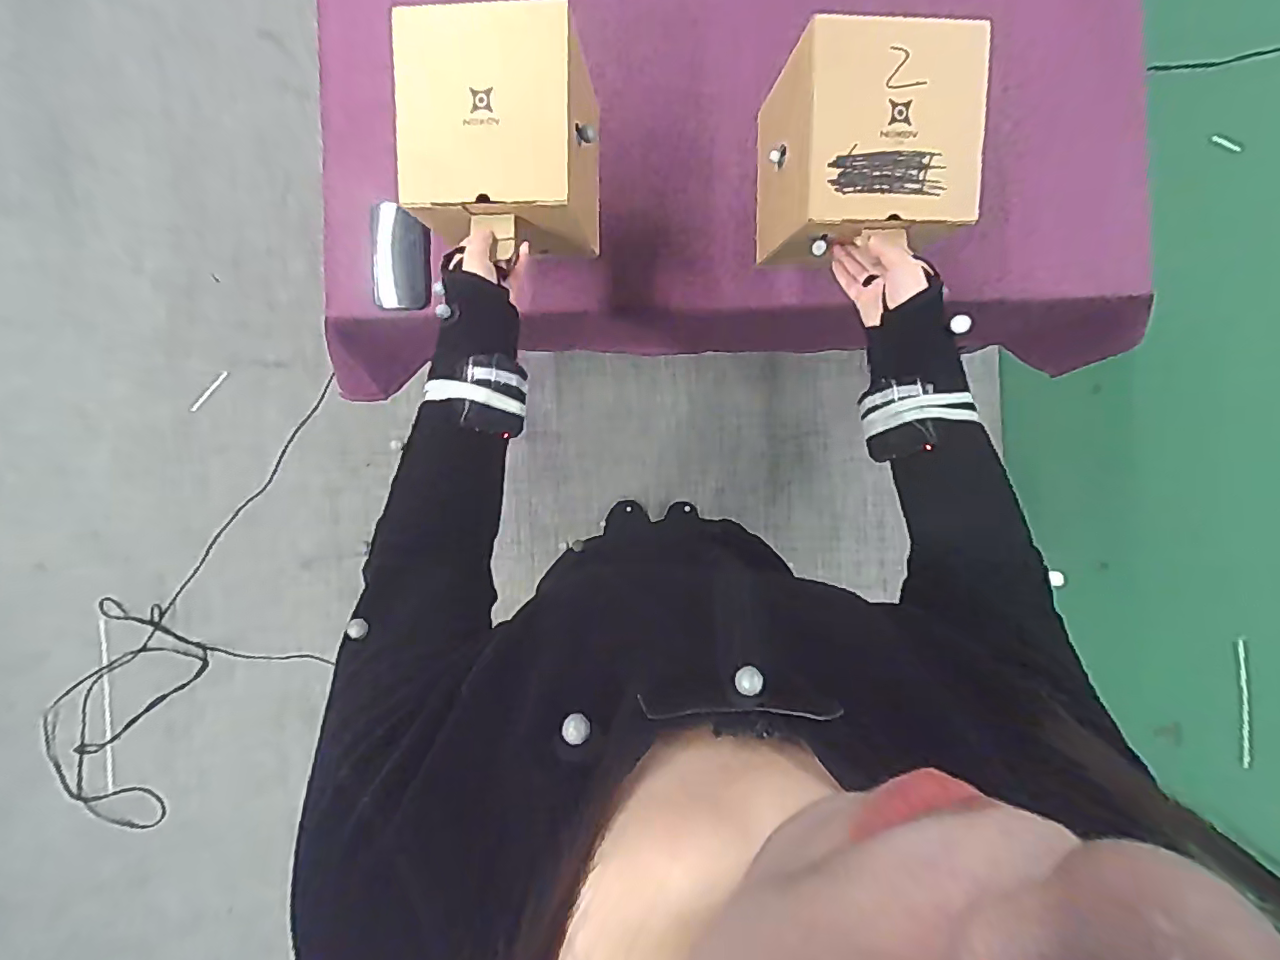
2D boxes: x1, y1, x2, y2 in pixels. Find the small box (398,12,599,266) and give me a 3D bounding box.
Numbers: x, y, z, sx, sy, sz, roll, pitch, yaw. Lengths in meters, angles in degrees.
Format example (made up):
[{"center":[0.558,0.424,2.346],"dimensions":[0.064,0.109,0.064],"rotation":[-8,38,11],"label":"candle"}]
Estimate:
[{"center":[-0.137,-0.343,0.575],"dimensions":[0.168,0.176,0.179],"rotation":[2,97,4],"label":"small box"}]
